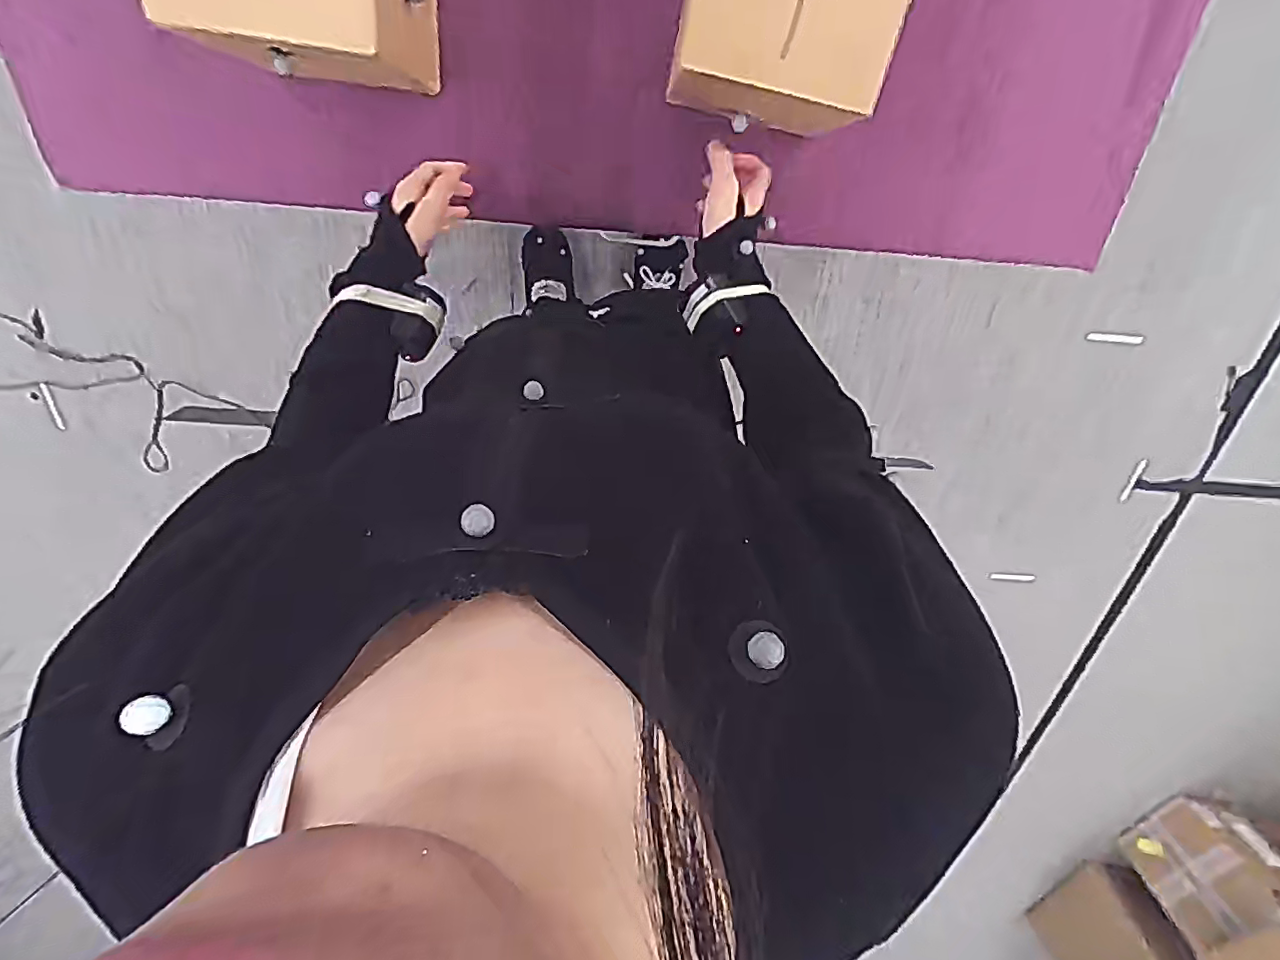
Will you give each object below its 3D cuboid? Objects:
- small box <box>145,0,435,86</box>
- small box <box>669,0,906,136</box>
[{"bbox_3d":[-0.282,-0.452,0.454,0.179,0.176,0.168,6,117,-4],"label":"small box"},{"bbox_3d":[0.124,-0.427,0.474,0.168,0.176,0.179,11,117,-7],"label":"small box"}]
